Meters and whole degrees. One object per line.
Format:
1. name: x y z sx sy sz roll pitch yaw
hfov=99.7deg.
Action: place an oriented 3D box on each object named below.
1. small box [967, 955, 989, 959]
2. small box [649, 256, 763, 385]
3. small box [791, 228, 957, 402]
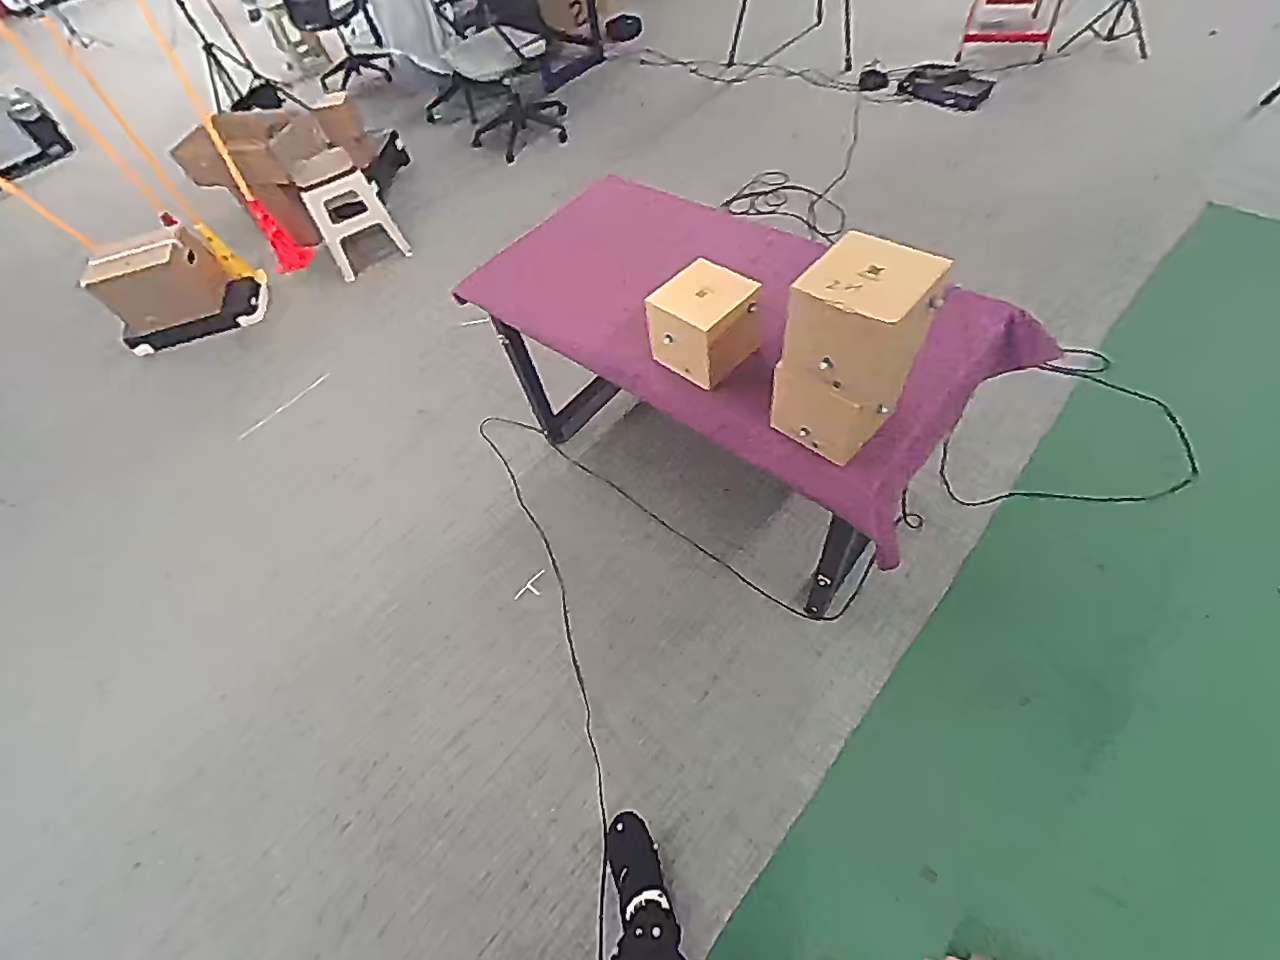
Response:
1. small box: 0.706 1.051 1.017 0.179 0.176 0.168 35 67 28
2. small box: 0.143 -0.335 1.149 0.168 0.176 0.179 37 68 28
3. small box: 0.357 -0.260 0.860 0.168 0.176 0.179 35 68 29
